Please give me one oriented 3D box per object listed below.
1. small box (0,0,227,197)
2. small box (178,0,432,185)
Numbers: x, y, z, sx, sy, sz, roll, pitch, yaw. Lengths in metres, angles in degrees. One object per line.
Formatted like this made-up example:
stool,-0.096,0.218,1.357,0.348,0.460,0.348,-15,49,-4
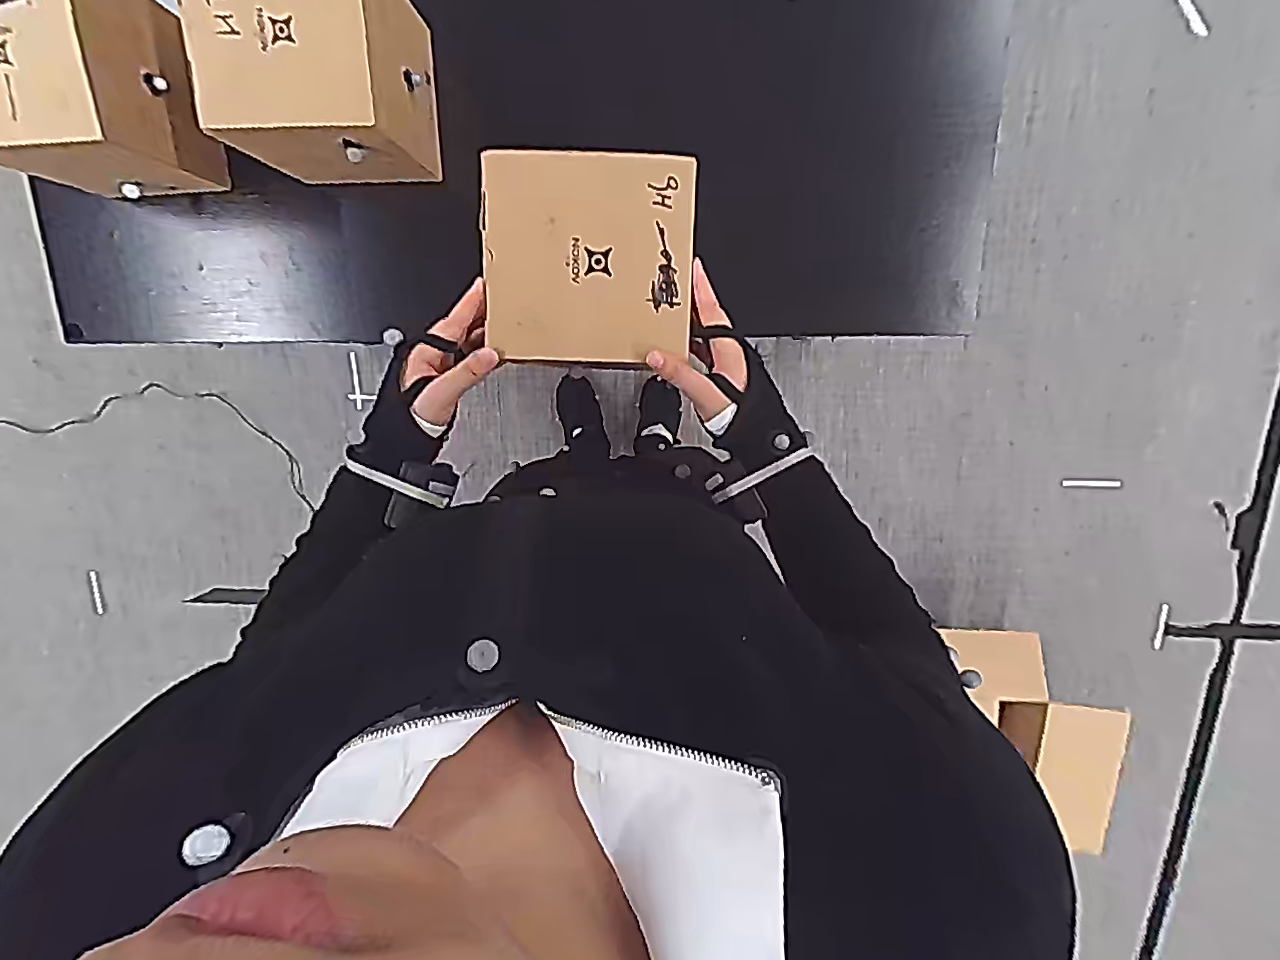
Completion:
small box,-0.607,-0.431,0.593,0.168,0.176,0.179,-2,104,2
small box,-0.340,-0.433,0.584,0.179,0.176,0.168,-1,102,1
